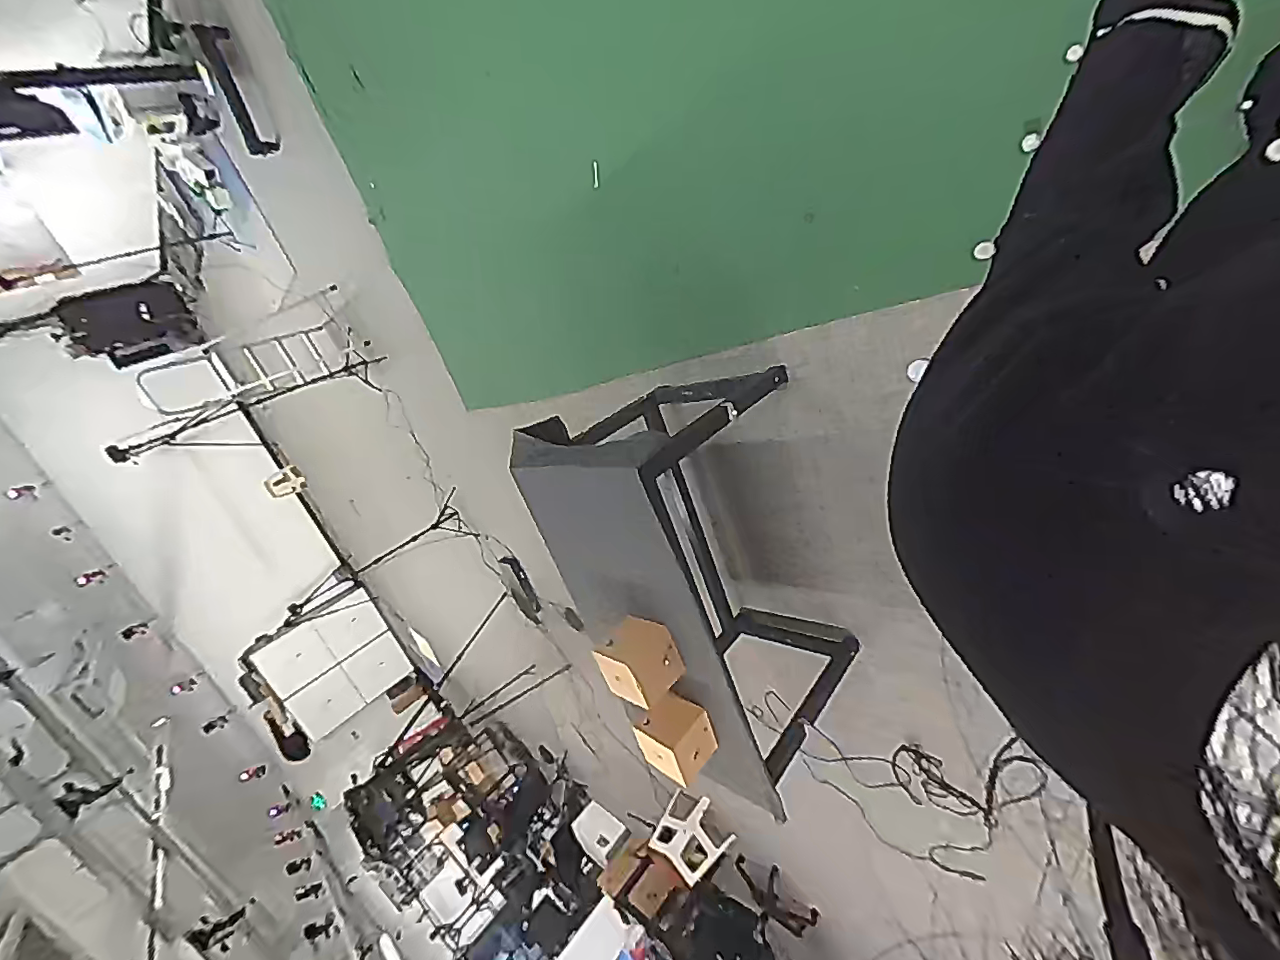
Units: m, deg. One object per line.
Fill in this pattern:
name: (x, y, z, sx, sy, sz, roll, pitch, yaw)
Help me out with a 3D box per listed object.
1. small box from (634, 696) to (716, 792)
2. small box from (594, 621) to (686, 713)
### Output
small box: (0.116, 0.802, 1.663, 0.179, 0.176, 0.168, 7, 123, 47)
small box: (0.001, 0.536, 1.576, 0.179, 0.176, 0.168, 0, 119, 49)
